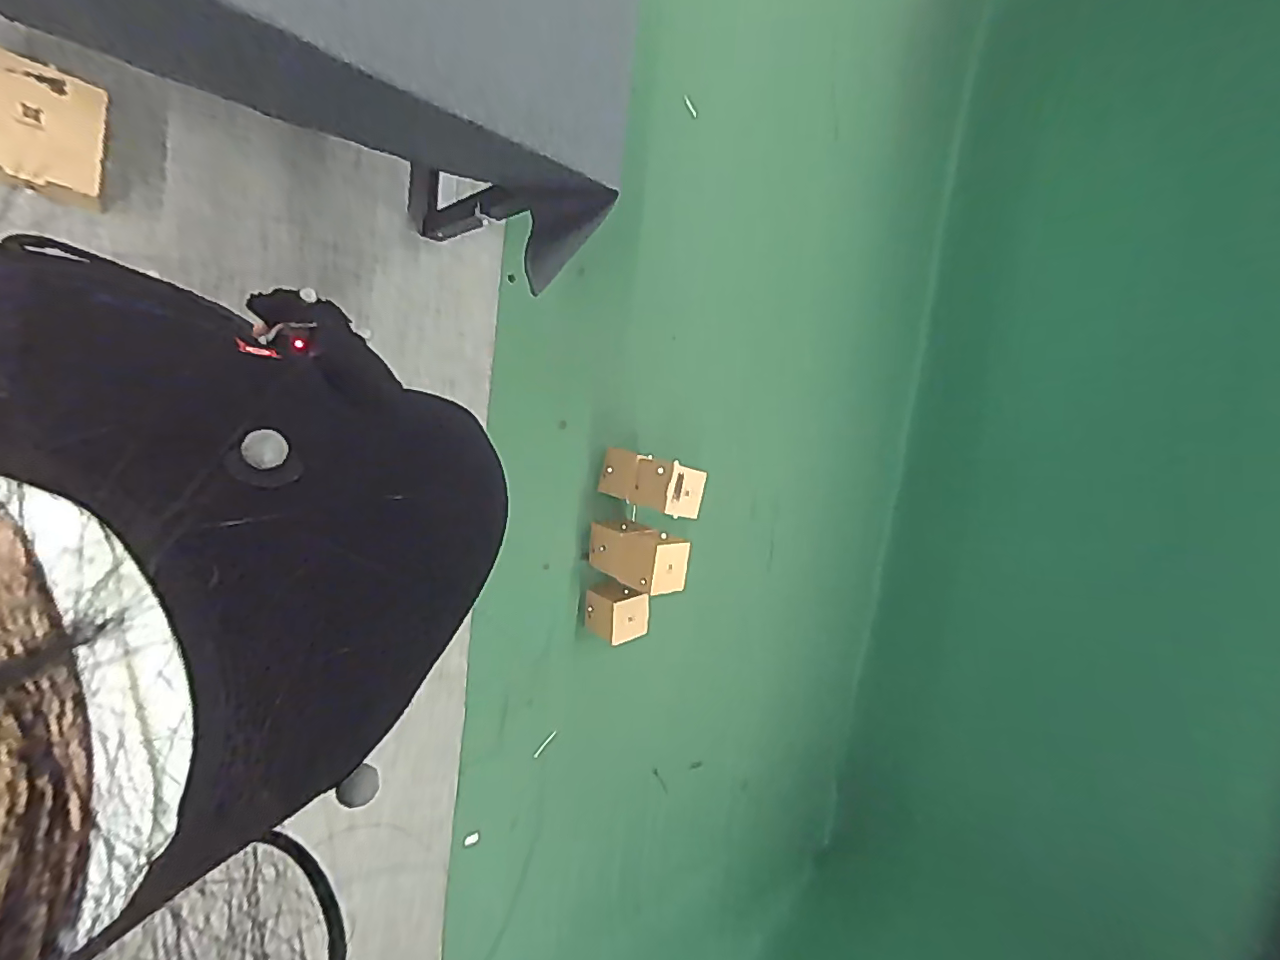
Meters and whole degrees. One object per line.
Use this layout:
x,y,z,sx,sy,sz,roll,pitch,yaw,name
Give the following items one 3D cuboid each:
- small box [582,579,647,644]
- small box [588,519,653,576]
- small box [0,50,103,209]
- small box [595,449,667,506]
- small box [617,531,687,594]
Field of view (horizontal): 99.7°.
-0.095,0.487,2.032,0.179,0.176,0.168,-7,105,-43,small box
-0.076,0.243,1.992,0.179,0.176,0.168,-3,102,-44,small box
-1.010,-0.573,0.890,0.168,0.176,0.179,5,96,-44,small box
-0.033,-0.011,1.973,0.179,0.176,0.168,15,89,-43,small box
0.039,0.278,1.881,0.168,0.176,0.179,1,100,-44,small box
